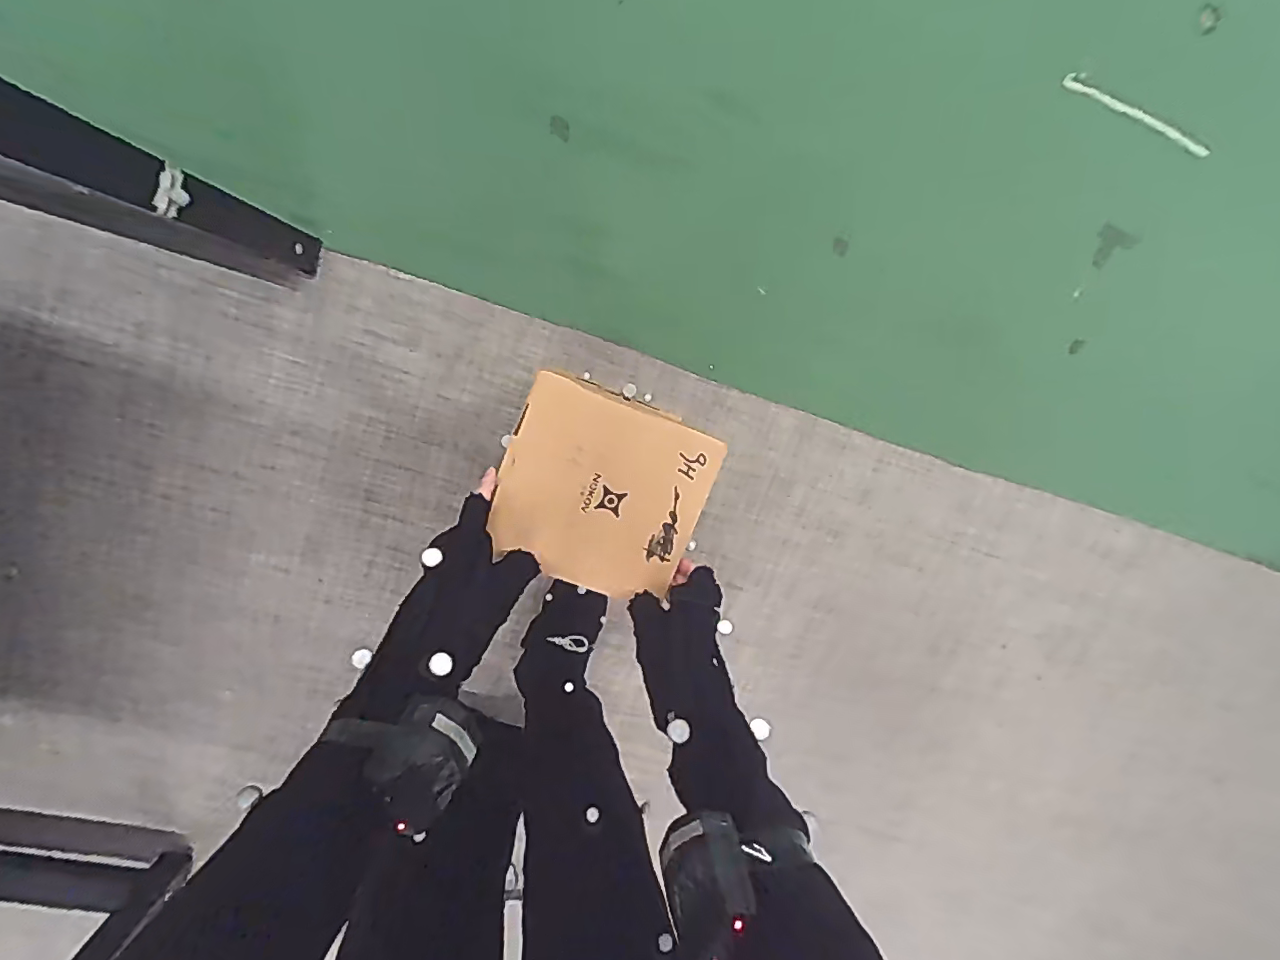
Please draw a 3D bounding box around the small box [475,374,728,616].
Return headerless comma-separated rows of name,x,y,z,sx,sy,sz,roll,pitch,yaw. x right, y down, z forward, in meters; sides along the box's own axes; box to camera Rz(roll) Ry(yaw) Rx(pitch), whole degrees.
small box,-0.039,0.005,0.544,0.179,0.176,0.168,22,98,-8
